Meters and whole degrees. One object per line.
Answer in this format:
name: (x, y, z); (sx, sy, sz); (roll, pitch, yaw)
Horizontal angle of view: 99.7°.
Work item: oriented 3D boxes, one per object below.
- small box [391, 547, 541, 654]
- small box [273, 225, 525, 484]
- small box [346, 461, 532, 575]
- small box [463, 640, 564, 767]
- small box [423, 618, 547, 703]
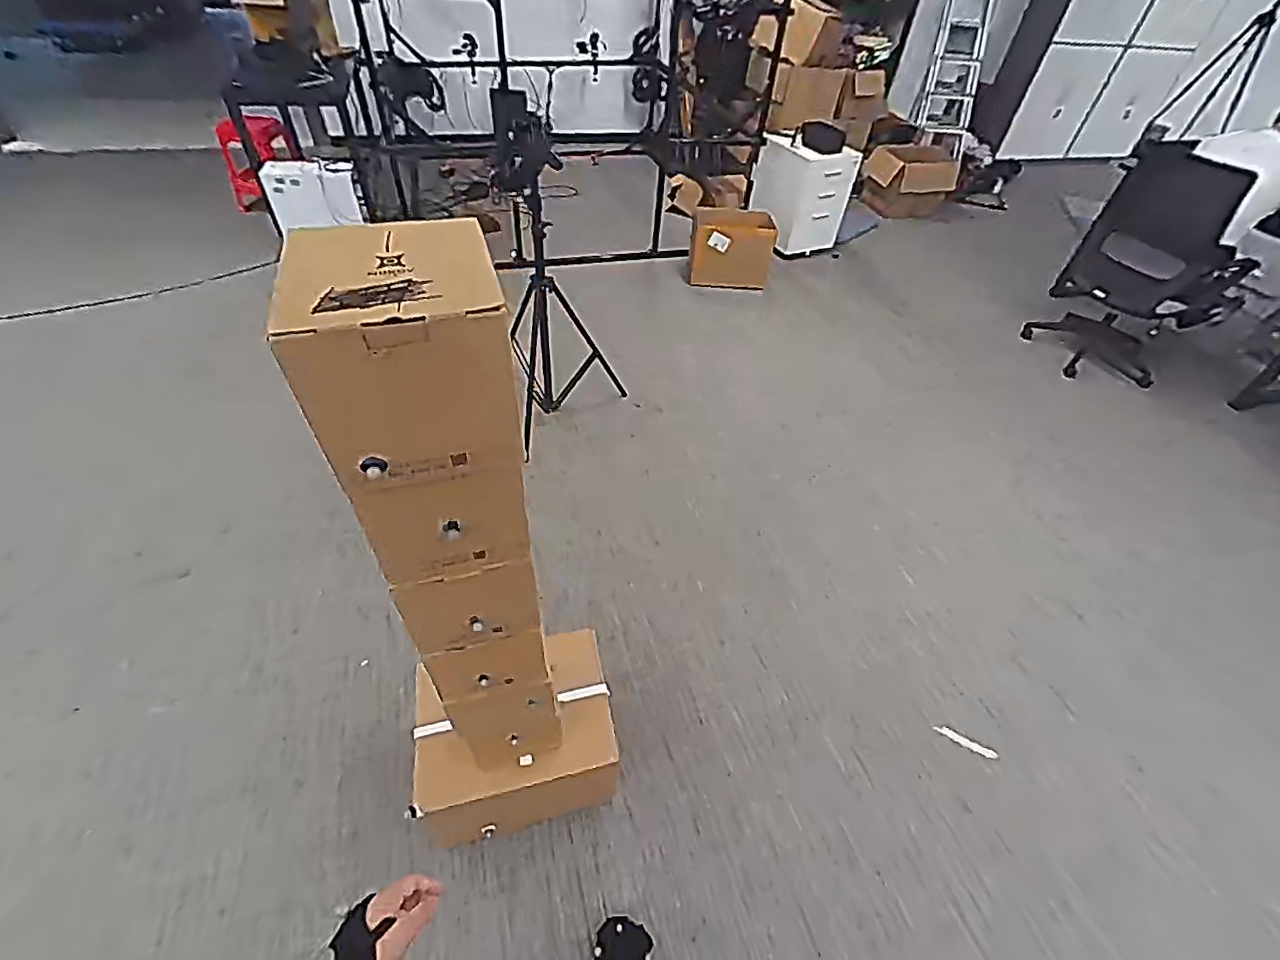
small box: (-0.236, 0.109, 0.745); (0.168, 0.176, 0.179); (-11, 50, -15)
small box: (-0.208, -0.112, 0.504); (0.168, 0.176, 0.179); (-11, 49, -16)
small box: (-0.226, -0.007, 0.630); (0.168, 0.176, 0.179); (-11, 50, -16)
small box: (-0.256, 0.455, 1.093); (0.179, 0.176, 0.168); (-10, 49, -15)
small box: (-0.245, 0.224, 0.862); (0.168, 0.176, 0.179); (-10, 49, -14)
